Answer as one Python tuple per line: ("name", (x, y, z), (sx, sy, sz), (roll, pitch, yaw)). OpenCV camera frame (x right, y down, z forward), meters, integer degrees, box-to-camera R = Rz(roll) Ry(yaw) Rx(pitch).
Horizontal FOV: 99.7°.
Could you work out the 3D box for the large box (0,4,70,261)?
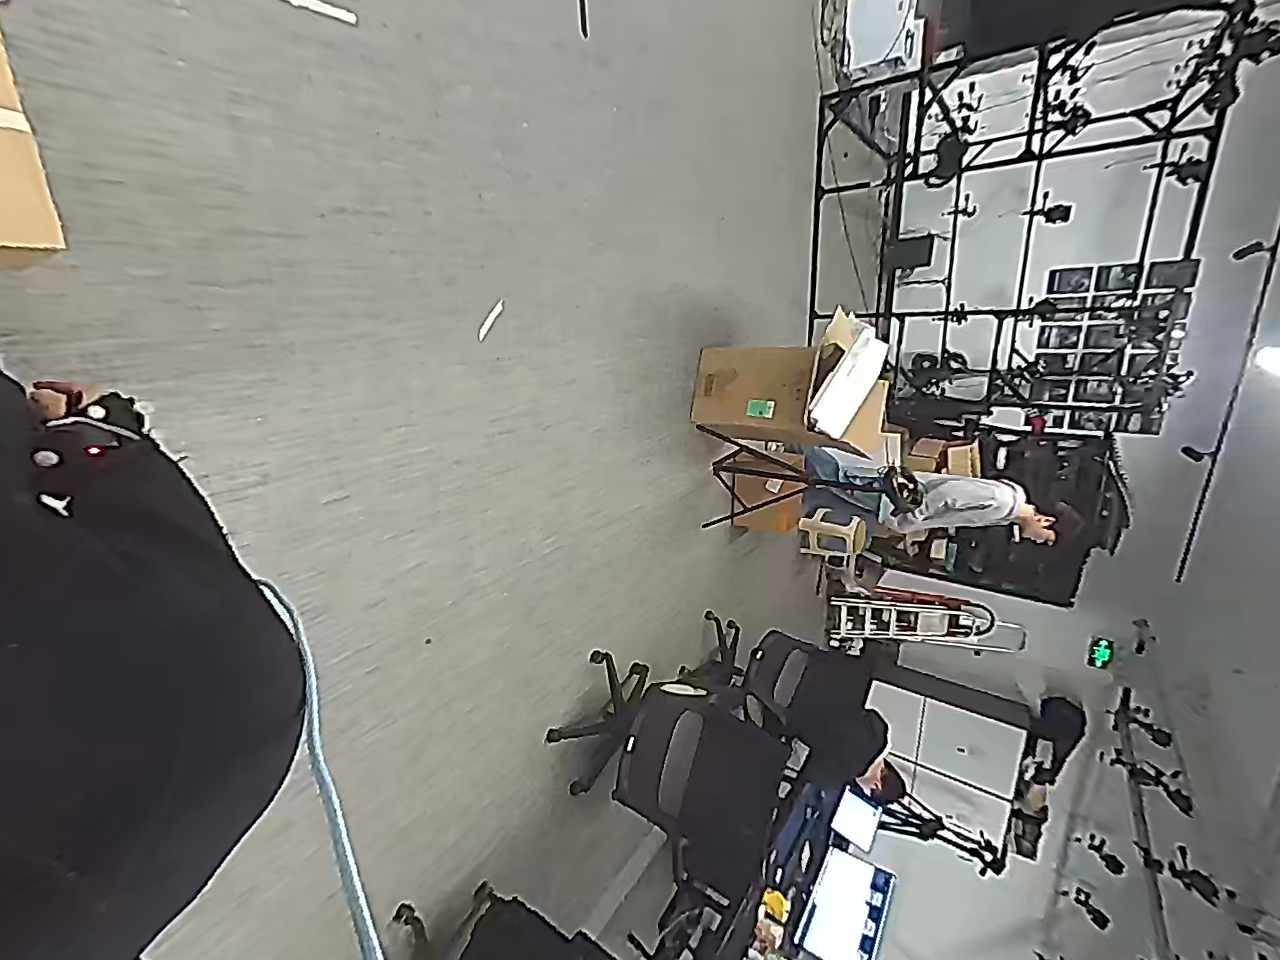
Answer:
("large box", (-1.025, -0.444, 0.629), (0.408, 0.320, 0.320), (-24, 117, -52))
